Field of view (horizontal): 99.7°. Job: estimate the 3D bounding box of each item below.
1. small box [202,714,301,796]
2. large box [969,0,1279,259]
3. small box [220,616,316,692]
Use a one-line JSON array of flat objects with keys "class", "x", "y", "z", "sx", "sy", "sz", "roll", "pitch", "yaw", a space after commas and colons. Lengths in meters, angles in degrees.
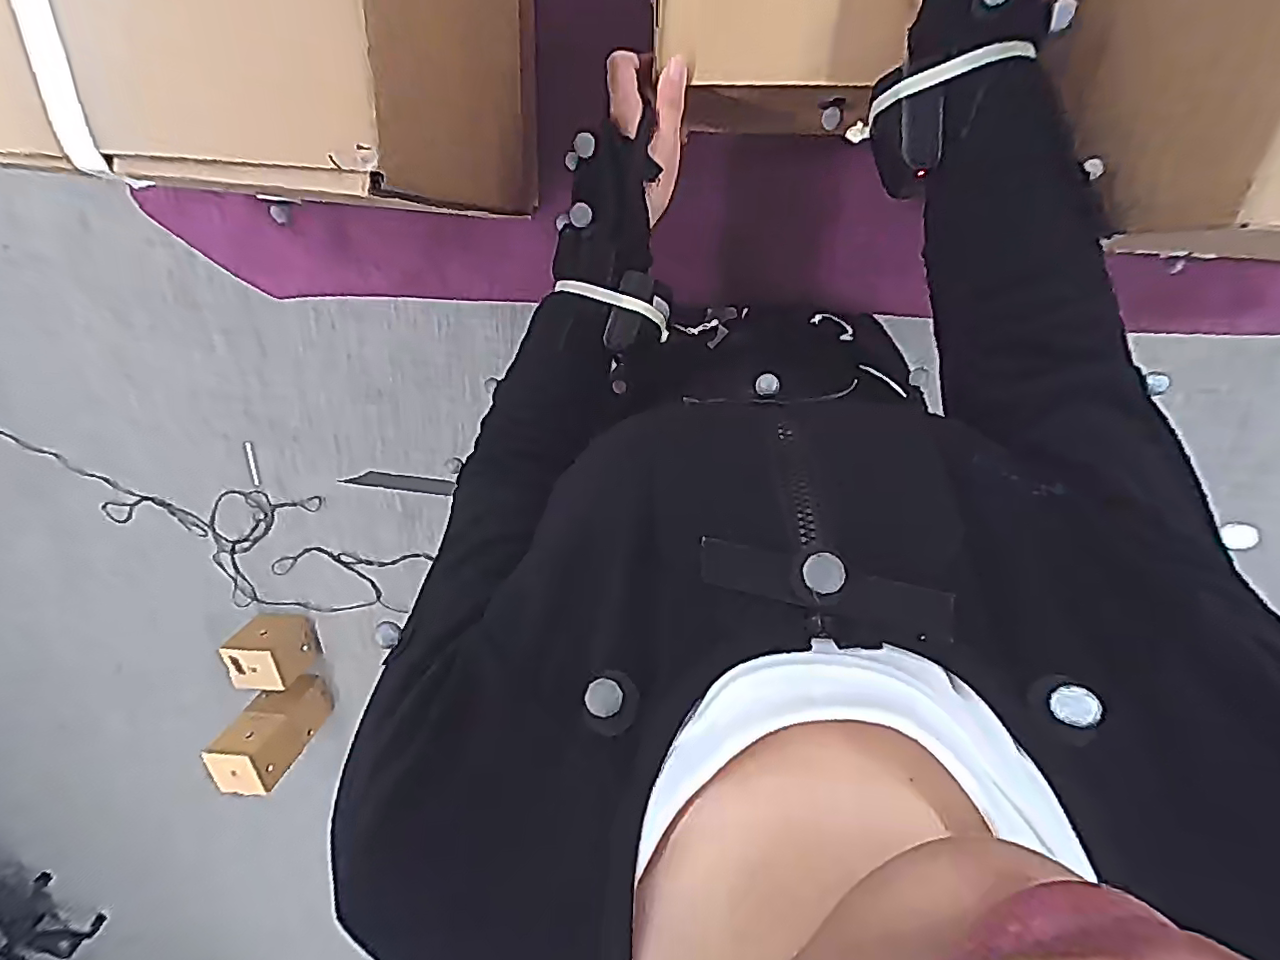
[{"class": "small box", "x": -1.237, "y": 0.877, "z": 1.735, "sx": 0.168, "sy": 0.176, "sz": 0.179, "roll": -1, "pitch": 114, "yaw": 8}, {"class": "large box", "x": 0.441, "y": -0.333, "z": 0.280, "sx": 0.320, "sy": 0.320, "sz": 0.408, "roll": 6, "pitch": 113, "yaw": 5}, {"class": "small box", "x": -1.209, "y": 0.565, "z": 1.770, "sx": 0.179, "sy": 0.176, "sz": 0.168, "roll": 2, "pitch": 115, "yaw": 6}]
